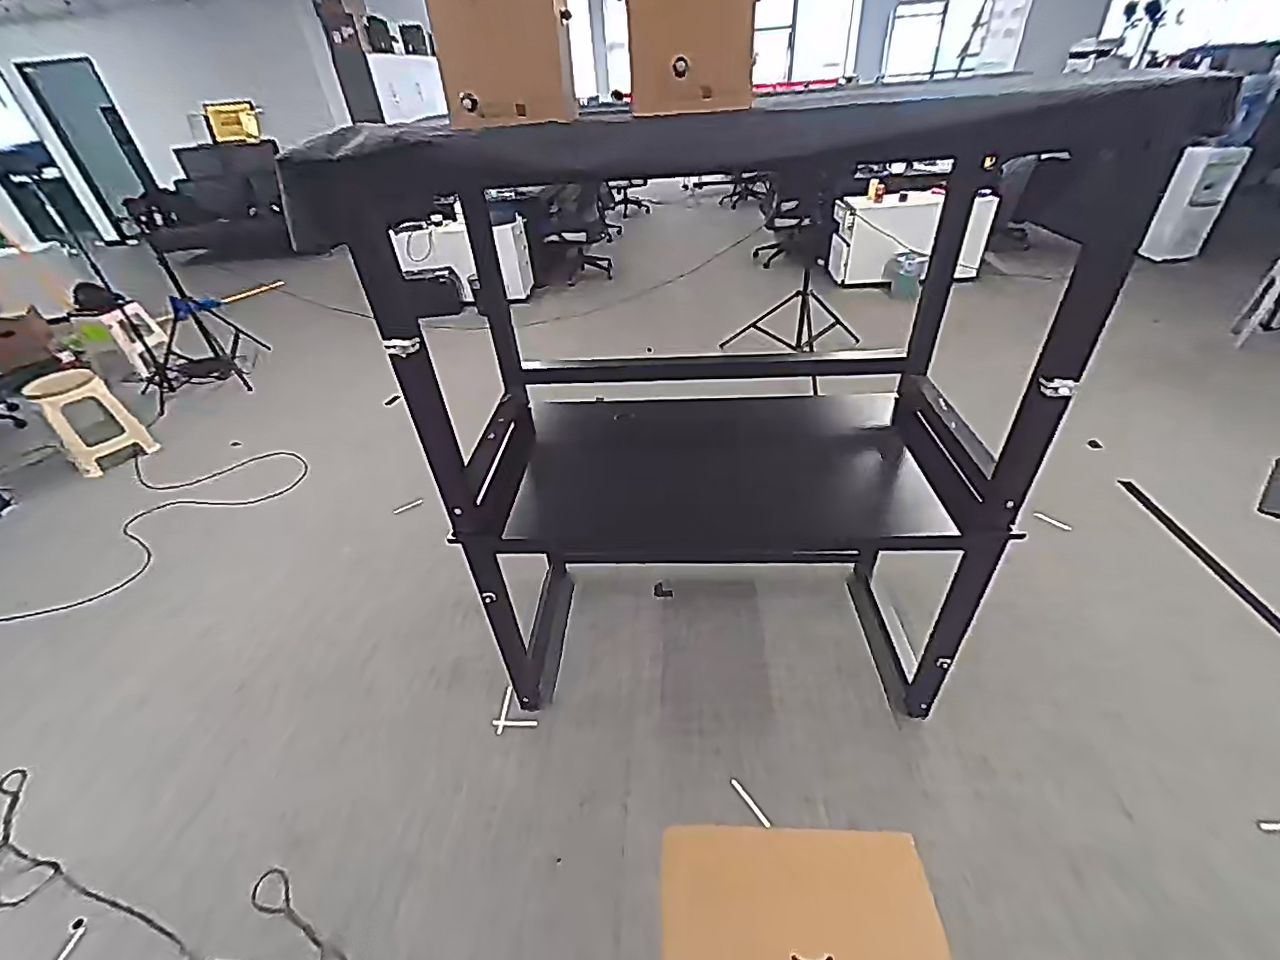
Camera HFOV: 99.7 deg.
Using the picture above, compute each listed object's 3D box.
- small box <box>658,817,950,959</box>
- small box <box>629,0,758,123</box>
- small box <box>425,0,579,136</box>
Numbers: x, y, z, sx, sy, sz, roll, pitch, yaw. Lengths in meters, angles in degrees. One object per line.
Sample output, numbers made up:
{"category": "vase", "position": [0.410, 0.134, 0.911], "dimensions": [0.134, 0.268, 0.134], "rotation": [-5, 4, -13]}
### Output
{"category": "small box", "position": [0.095, 0.348, 0.345], "dimensions": [0.168, 0.176, 0.179], "rotation": [1, 37, 2]}
{"category": "small box", "position": [0.072, -0.610, 0.766], "dimensions": [0.168, 0.176, 0.179], "rotation": [-2, 35, 4]}
{"category": "small box", "position": [-0.184, -0.603, 0.781], "dimensions": [0.168, 0.176, 0.179], "rotation": [-2, 35, 2]}
